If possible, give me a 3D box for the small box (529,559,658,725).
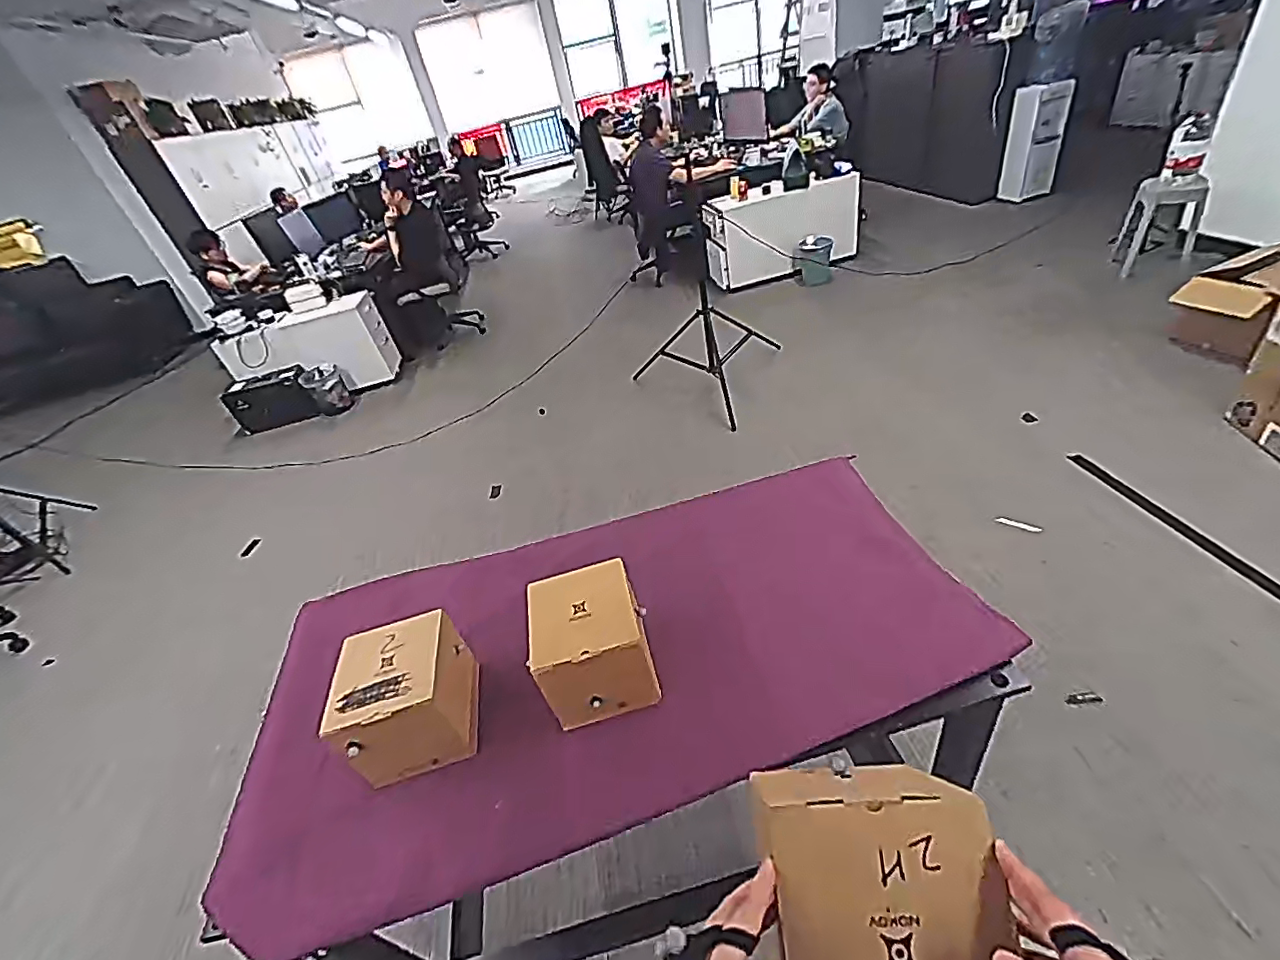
[{"bbox_3d":[-0.077,0.264,0.887,0.168,0.176,0.179,-16,37,-2],"label":"small box"}]

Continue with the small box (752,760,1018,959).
[{"bbox_3d":[0.193,0.352,0.466,0.168,0.176,0.179,-5,68,5],"label":"small box"}]
